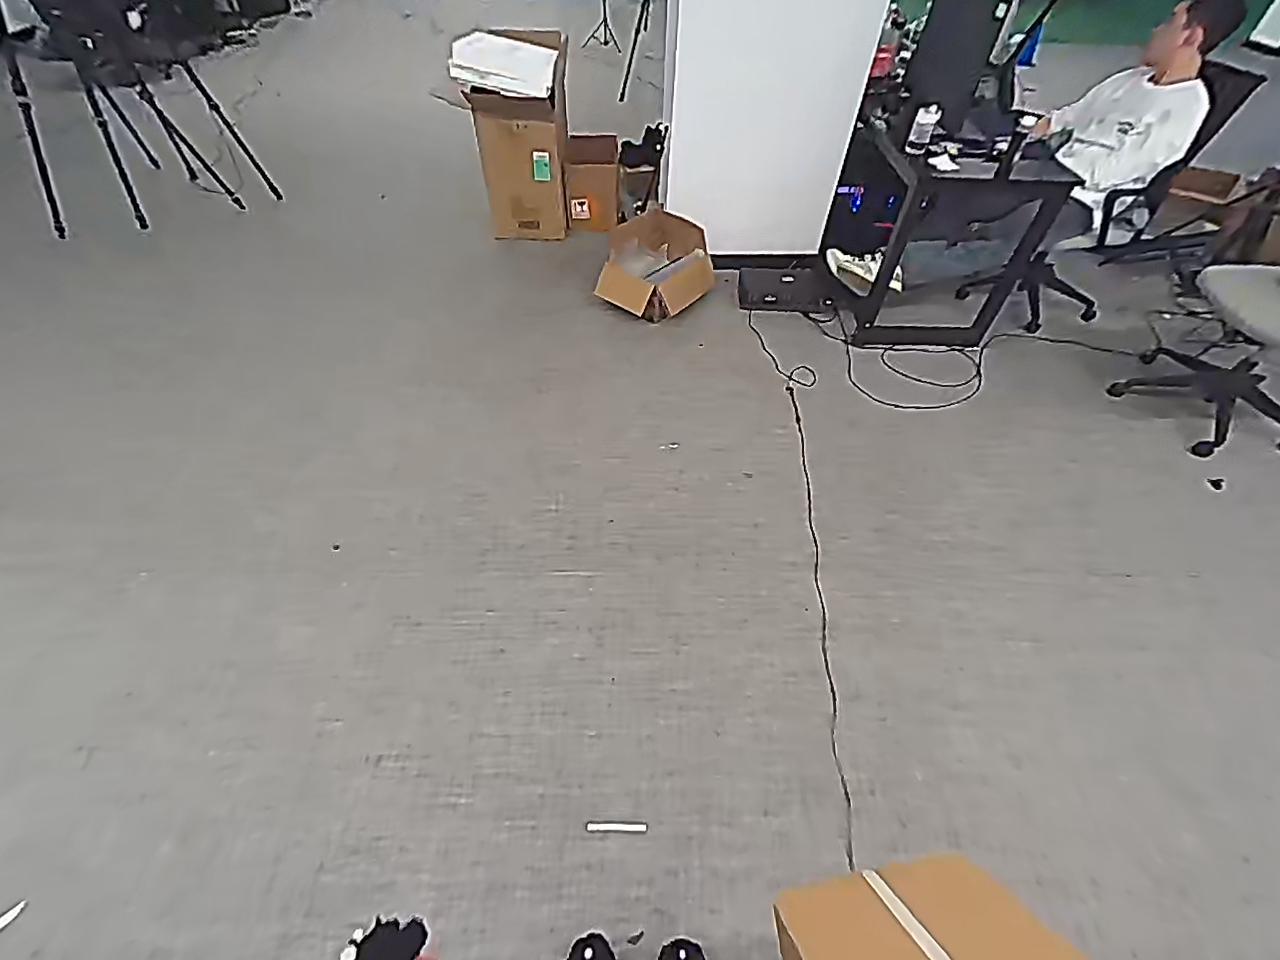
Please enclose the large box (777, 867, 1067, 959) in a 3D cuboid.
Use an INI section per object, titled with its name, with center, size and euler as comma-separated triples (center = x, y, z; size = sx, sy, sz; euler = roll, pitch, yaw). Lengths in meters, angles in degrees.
[large box]
center = 0.394, 0.753, 0.627
size = 0.320, 0.408, 0.320
euler = -8, 85, -6
